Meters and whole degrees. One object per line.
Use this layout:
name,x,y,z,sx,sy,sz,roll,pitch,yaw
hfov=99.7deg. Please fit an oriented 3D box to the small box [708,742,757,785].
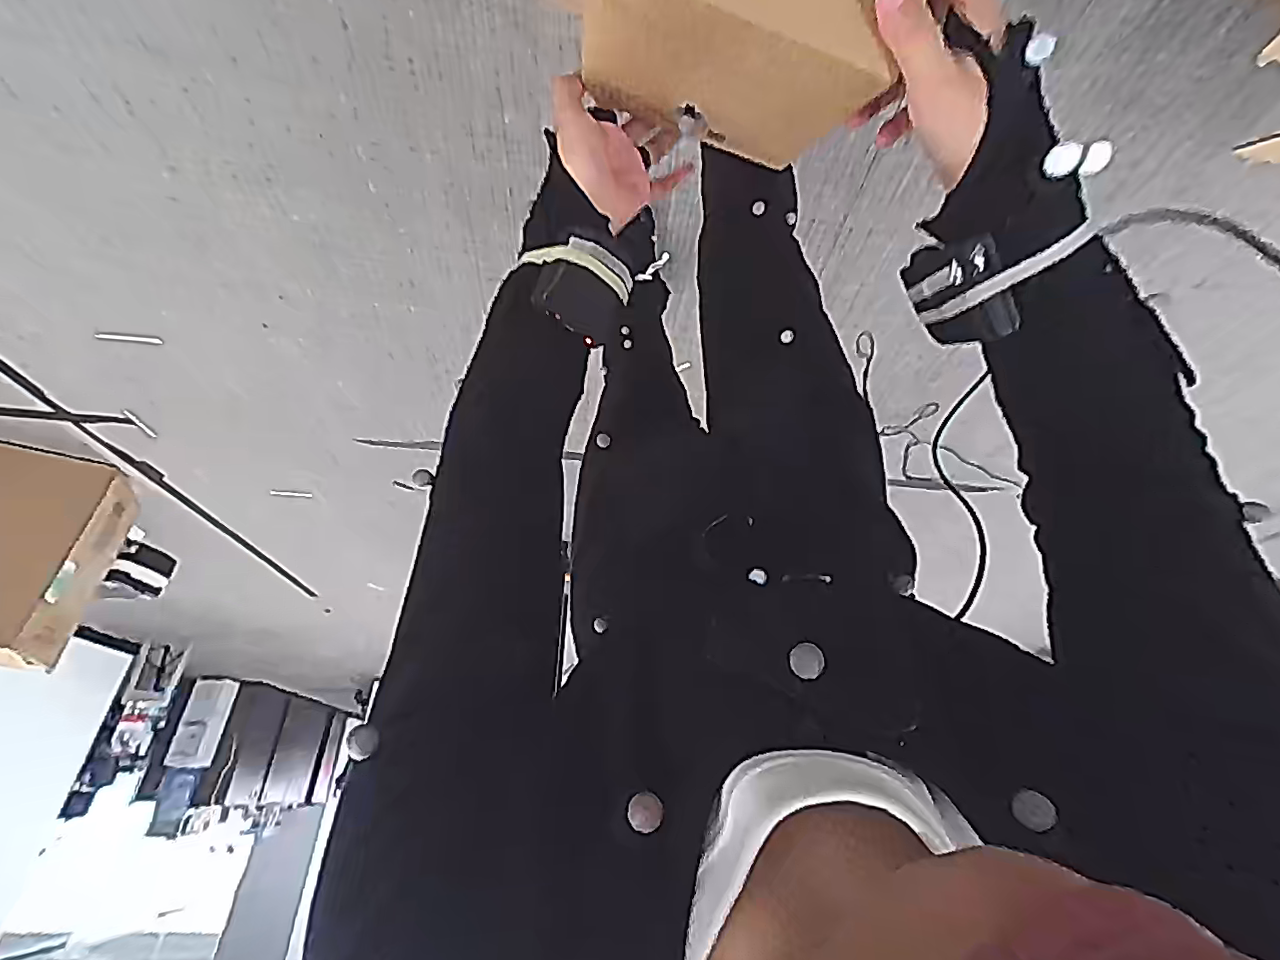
small box,0.409,1.247,2.390,0.179,0.168,0.176,-1,151,-11

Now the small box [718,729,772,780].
small box,0.412,1.096,2.159,0.179,0.176,0.168,3,150,-3
